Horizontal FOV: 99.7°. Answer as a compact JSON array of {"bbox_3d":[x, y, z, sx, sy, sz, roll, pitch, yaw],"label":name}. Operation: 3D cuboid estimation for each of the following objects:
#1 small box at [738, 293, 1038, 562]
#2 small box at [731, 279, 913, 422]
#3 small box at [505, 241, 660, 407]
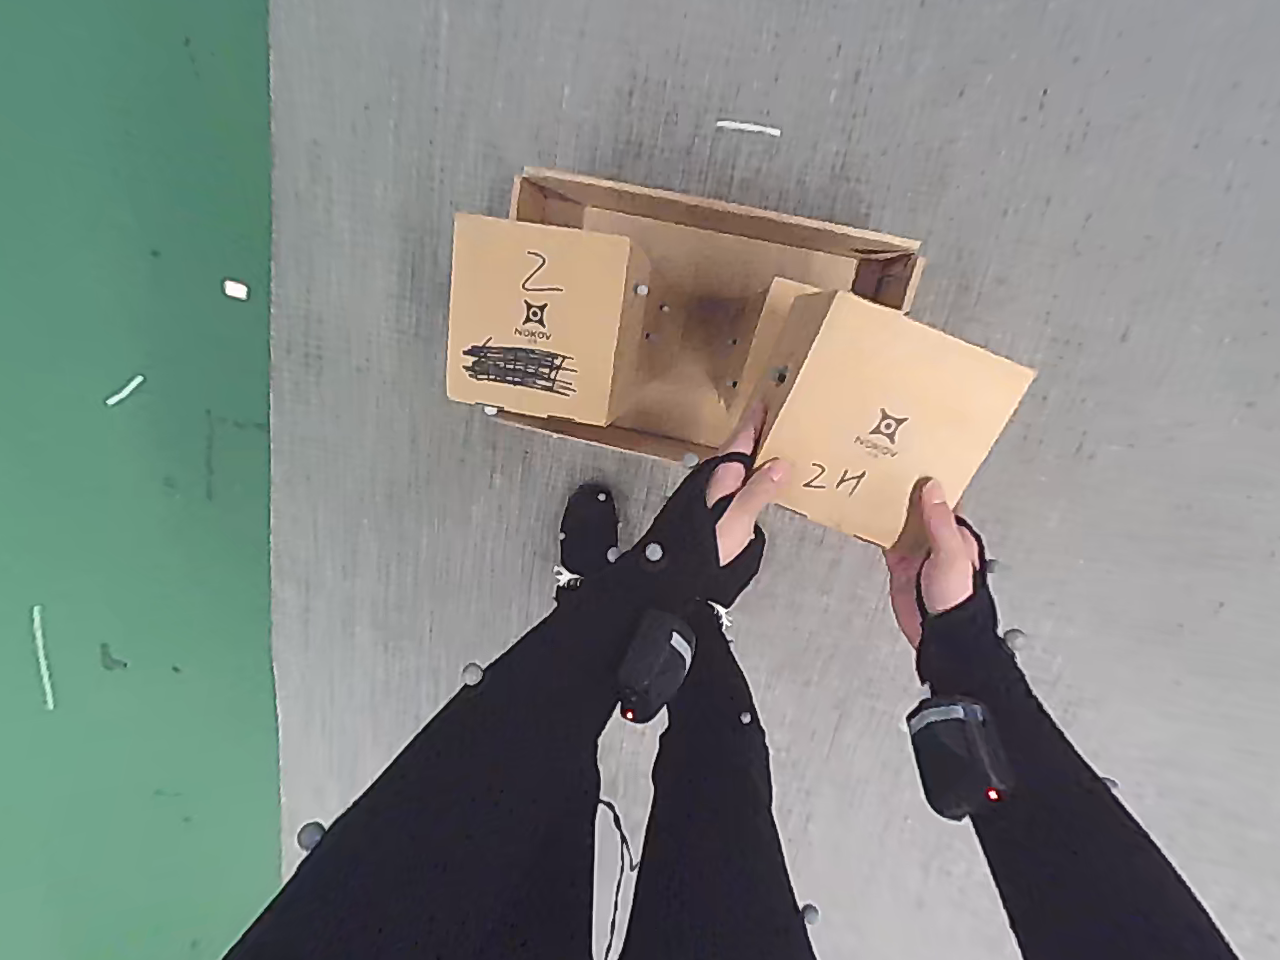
[{"bbox_3d":[0.203,-0.059,0.507,0.168,0.176,0.179,22,108,-3],"label":"small box"},{"bbox_3d":[0.225,-0.152,0.722,0.168,0.176,0.179,17,108,2],"label":"small box"},{"bbox_3d":[-0.069,-0.208,0.741,0.168,0.176,0.179,11,105,5],"label":"small box"}]
